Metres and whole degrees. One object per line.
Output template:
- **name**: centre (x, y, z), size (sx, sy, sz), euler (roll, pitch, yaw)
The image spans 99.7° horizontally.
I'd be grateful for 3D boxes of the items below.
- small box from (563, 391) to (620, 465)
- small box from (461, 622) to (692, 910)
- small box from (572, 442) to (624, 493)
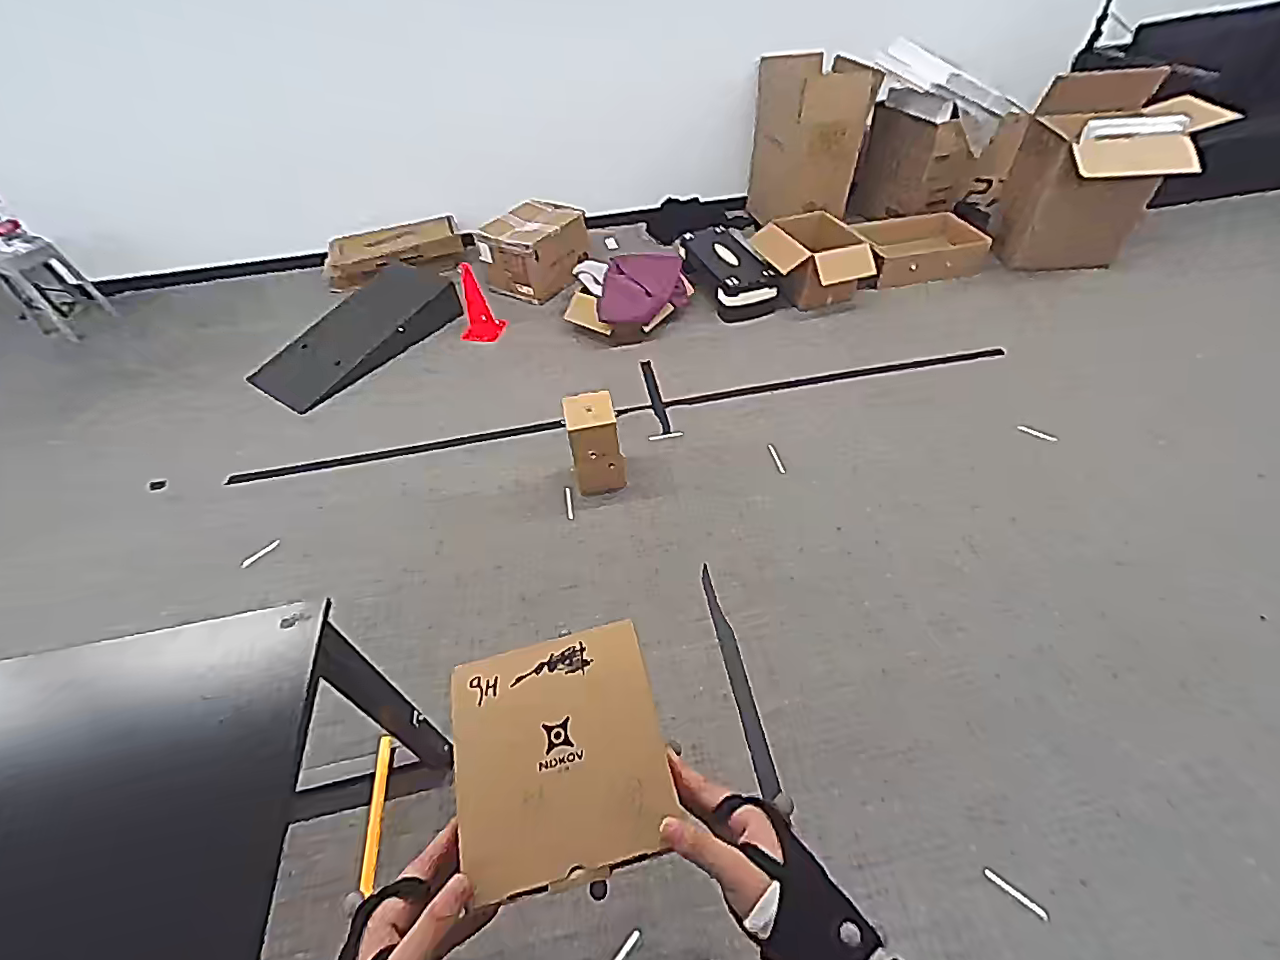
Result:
- **small box**: centre (-0.167, -0.180, 1.874), size (0.168, 0.176, 0.179), euler (-12, 49, -4)
- **small box**: centre (-0.051, 0.258, 0.501), size (0.168, 0.176, 0.179), euler (-15, 57, -4)
- **small box**: centre (-0.157, -0.075, 1.997), size (0.179, 0.176, 0.168), euler (-11, 48, -6)
